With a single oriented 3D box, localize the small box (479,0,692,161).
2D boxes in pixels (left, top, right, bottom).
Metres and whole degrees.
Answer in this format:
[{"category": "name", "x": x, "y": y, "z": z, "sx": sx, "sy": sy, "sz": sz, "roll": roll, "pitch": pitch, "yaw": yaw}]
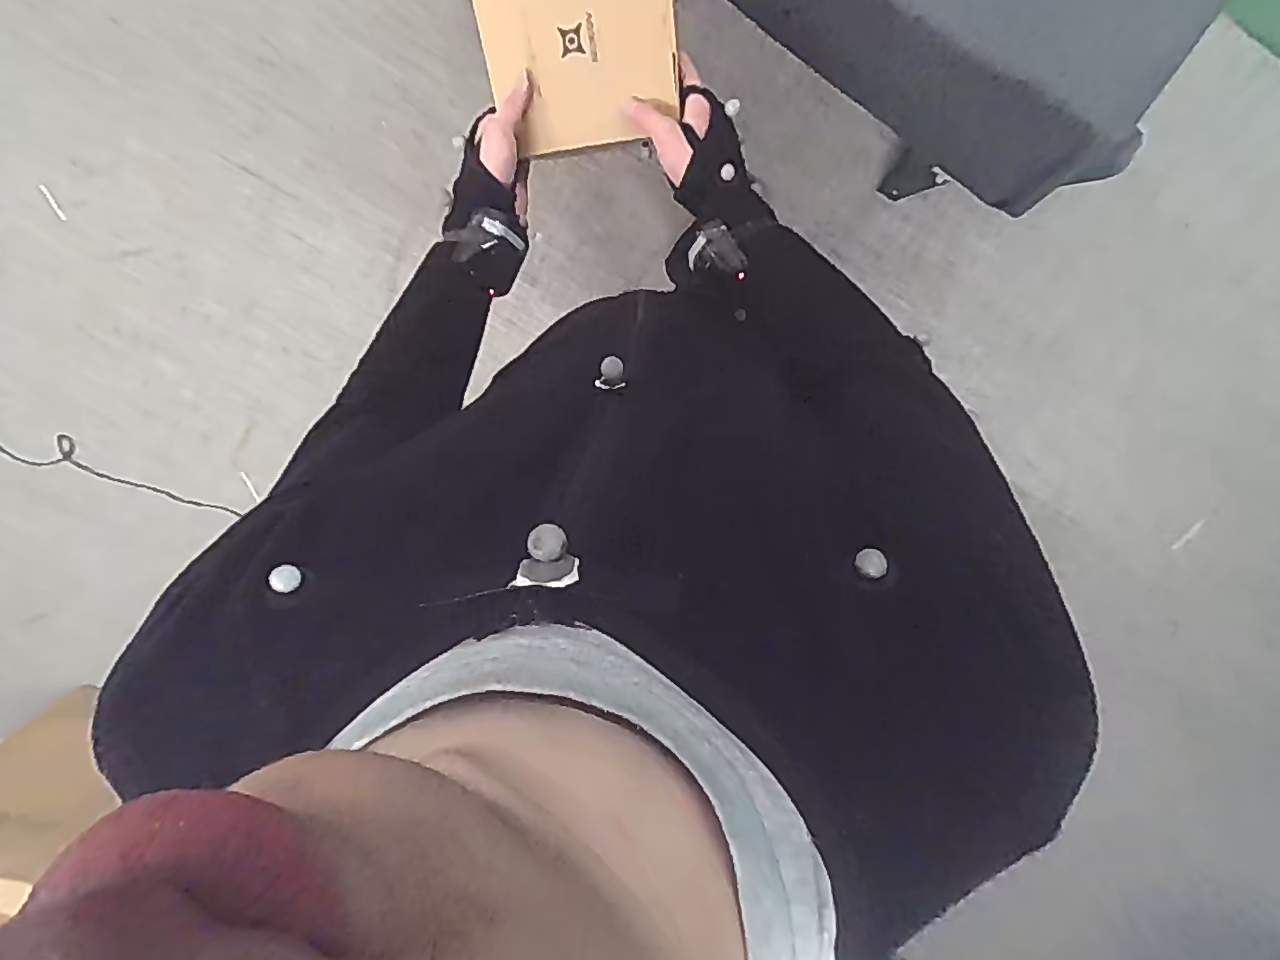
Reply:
[{"category": "small box", "x": -0.040, "y": -0.426, "z": 0.540, "sx": 0.179, "sy": 0.176, "sz": 0.168, "roll": -3, "pitch": 119, "yaw": 10}]
